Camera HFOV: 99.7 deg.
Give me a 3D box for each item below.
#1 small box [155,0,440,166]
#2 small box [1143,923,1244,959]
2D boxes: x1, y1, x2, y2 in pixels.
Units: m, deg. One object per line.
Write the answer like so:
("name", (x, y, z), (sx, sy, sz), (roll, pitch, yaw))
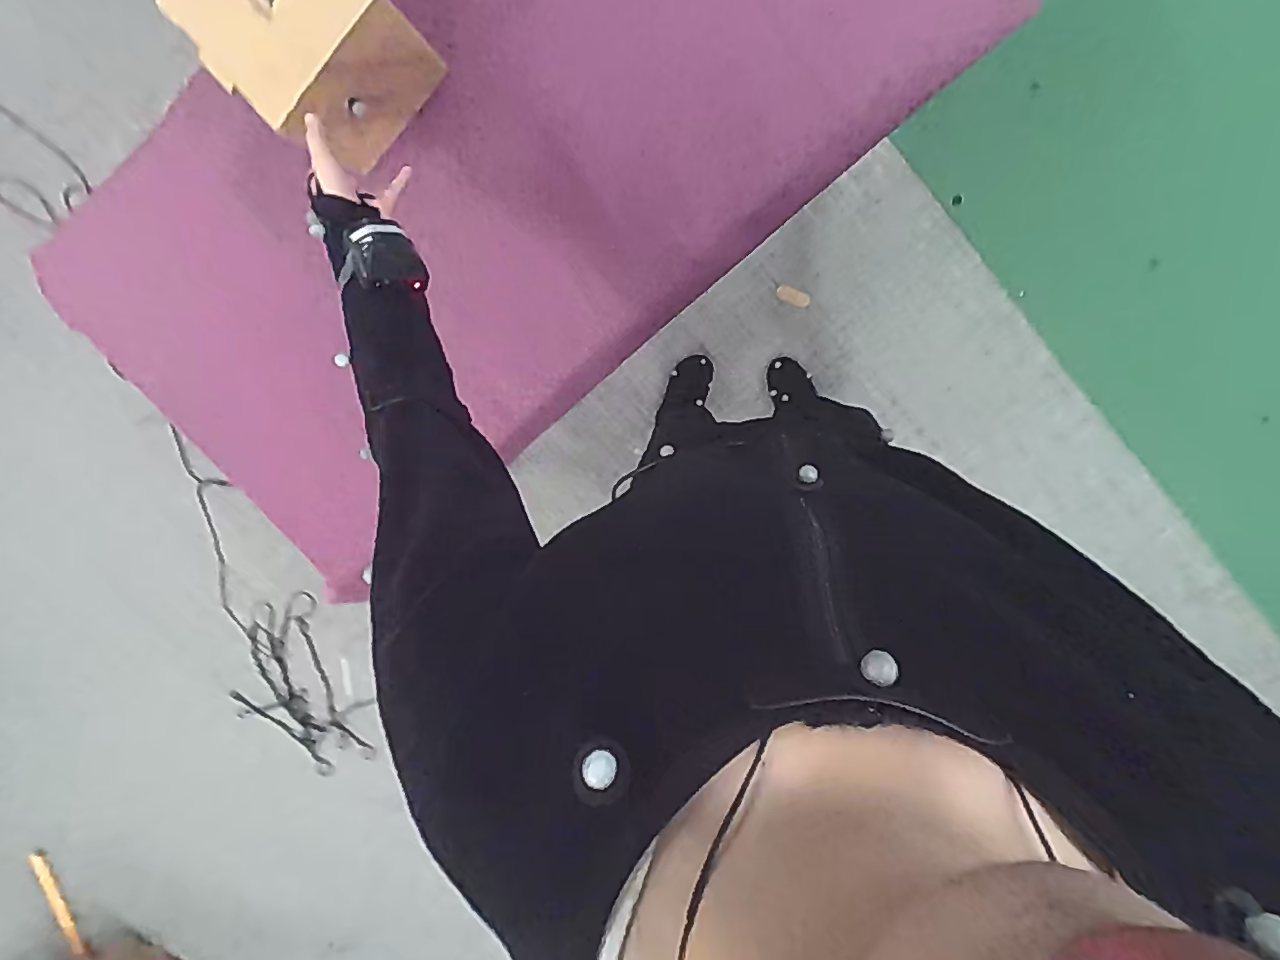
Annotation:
("small box", (-0.362, -0.496, 0.606), (0.179, 0.176, 0.168), (-41, 99, 14))
("small box", (1.353, 1.192, 1.258), (0.168, 0.176, 0.179), (44, 104, -6))
